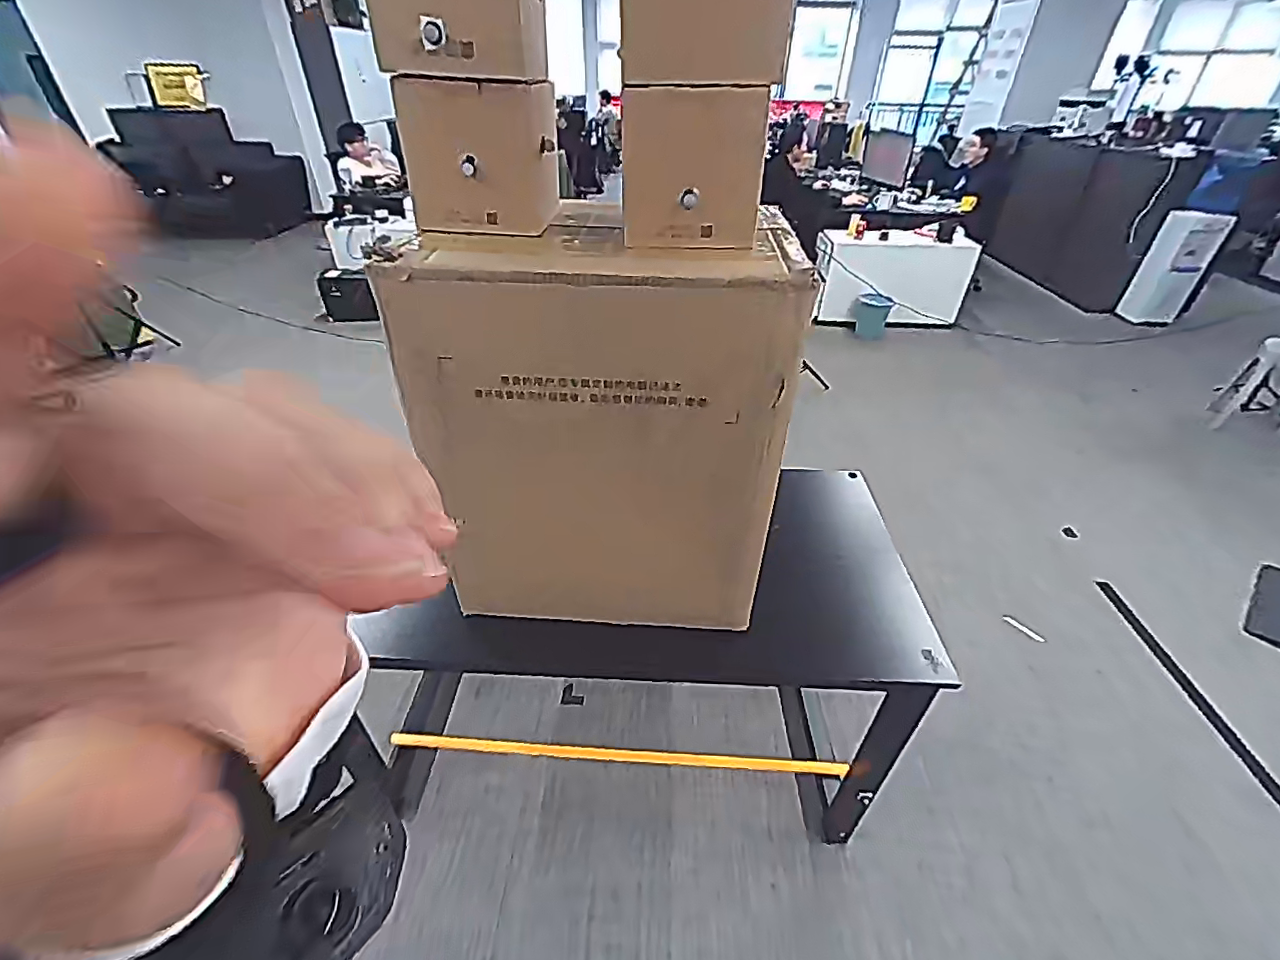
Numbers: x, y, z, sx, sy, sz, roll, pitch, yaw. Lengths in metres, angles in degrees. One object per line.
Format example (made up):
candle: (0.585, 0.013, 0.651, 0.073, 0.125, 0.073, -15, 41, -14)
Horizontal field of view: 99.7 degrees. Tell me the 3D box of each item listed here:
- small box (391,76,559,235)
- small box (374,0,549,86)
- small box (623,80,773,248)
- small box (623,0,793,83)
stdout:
small box: (-0.204, -0.440, 0.730, 0.168, 0.176, 0.179, 3, 37, 0)
small box: (-0.200, -0.563, 0.621, 0.168, 0.176, 0.179, 1, 37, 0)
small box: (0.067, -0.409, 0.696, 0.168, 0.176, 0.179, 1, 37, 3)
small box: (0.072, -0.537, 0.593, 0.179, 0.176, 0.168, 2, 37, 2)
